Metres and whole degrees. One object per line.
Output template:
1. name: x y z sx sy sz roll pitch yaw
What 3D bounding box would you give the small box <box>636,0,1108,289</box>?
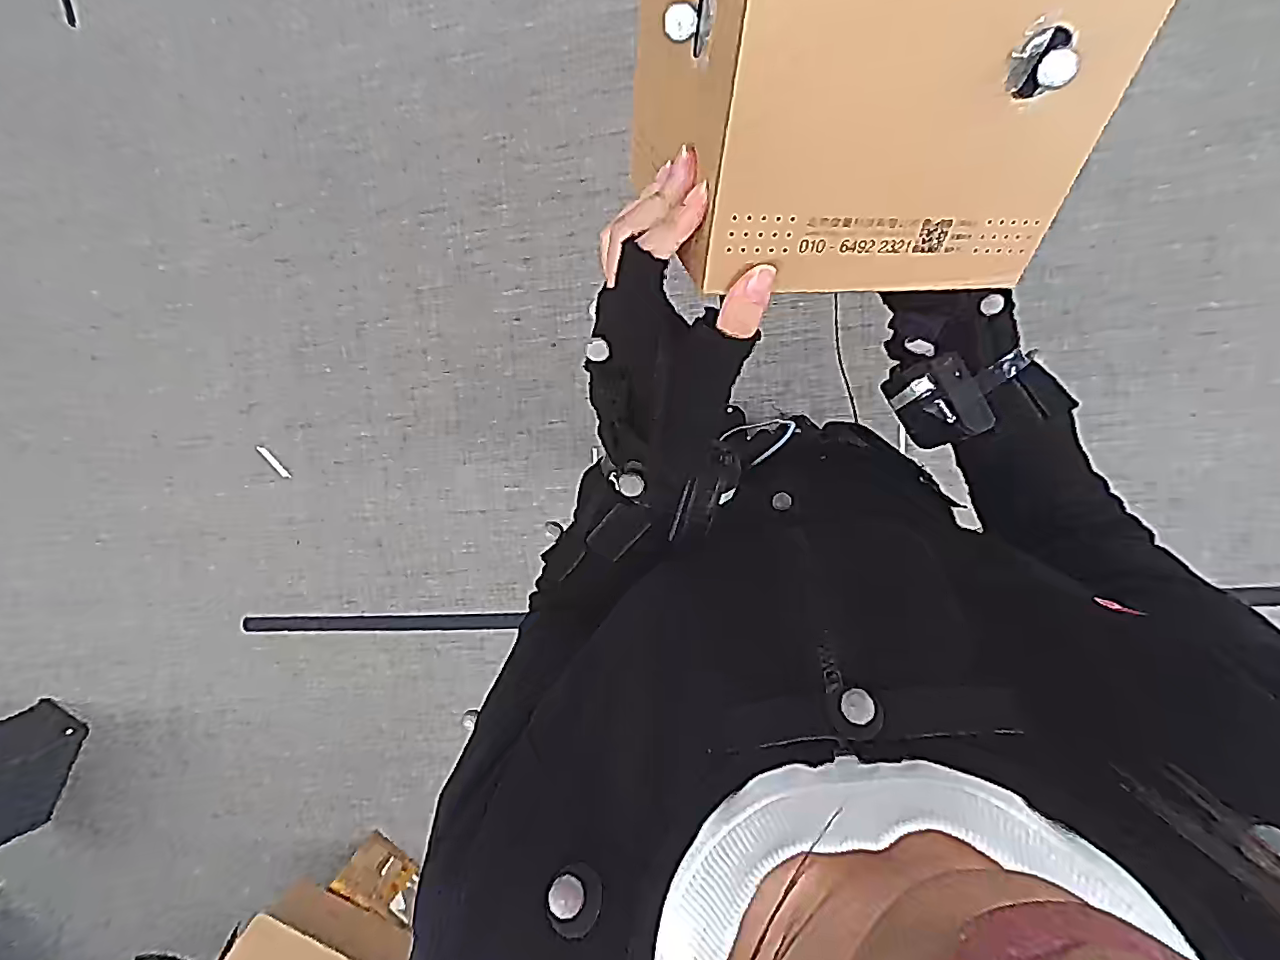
1. small box: 0.095 -0.211 0.279 0.168 0.179 0.176 -4 134 -11
